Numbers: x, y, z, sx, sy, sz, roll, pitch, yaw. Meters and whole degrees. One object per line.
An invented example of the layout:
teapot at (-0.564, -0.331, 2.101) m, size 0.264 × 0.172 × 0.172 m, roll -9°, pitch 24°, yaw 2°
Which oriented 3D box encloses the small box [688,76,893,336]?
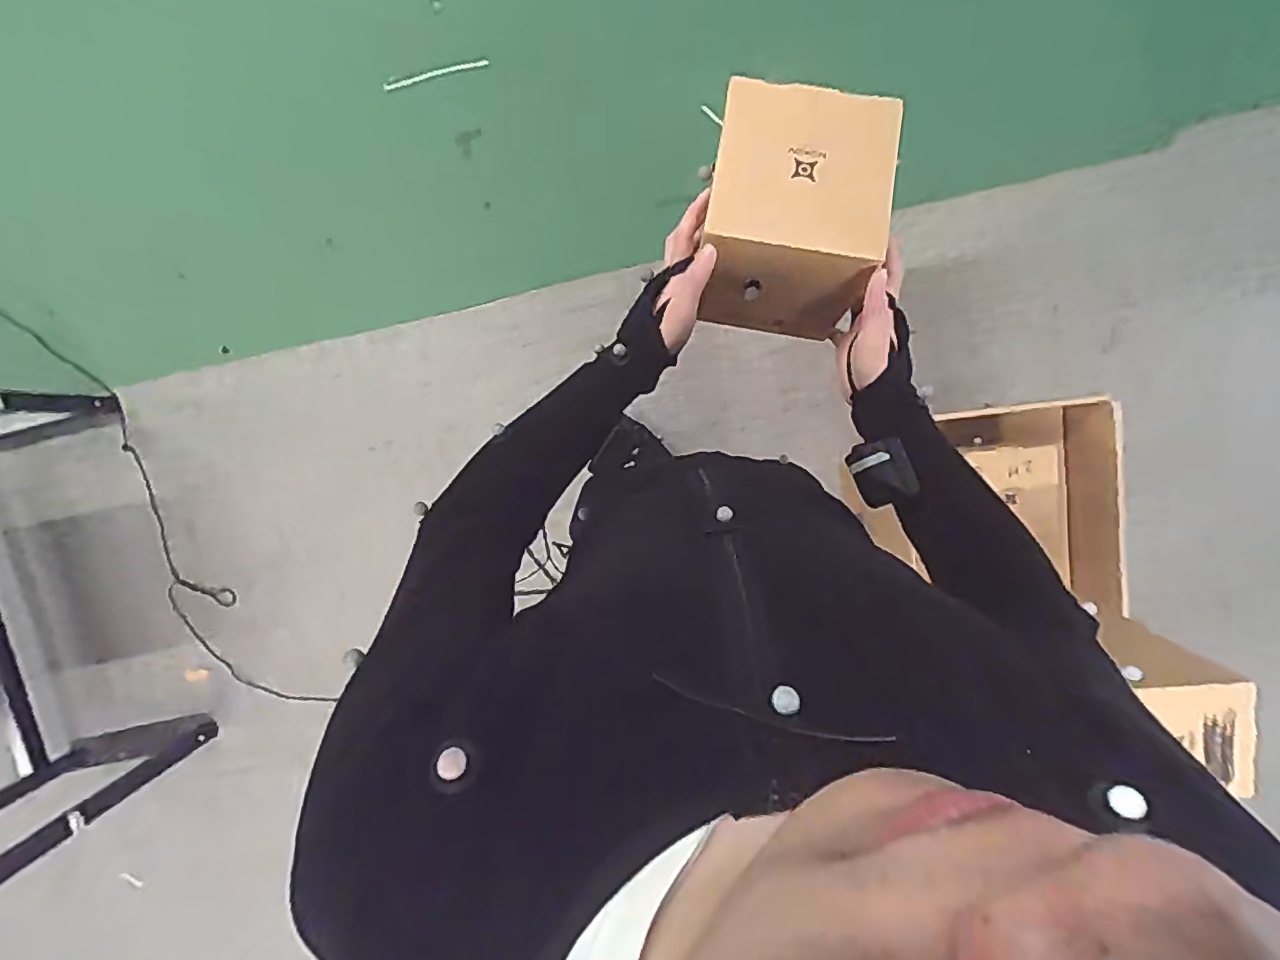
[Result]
small box at (0.145, -0.274, 0.574) m, size 0.168 × 0.176 × 0.179 m, roll 9°, pitch 79°, yaw 3°
